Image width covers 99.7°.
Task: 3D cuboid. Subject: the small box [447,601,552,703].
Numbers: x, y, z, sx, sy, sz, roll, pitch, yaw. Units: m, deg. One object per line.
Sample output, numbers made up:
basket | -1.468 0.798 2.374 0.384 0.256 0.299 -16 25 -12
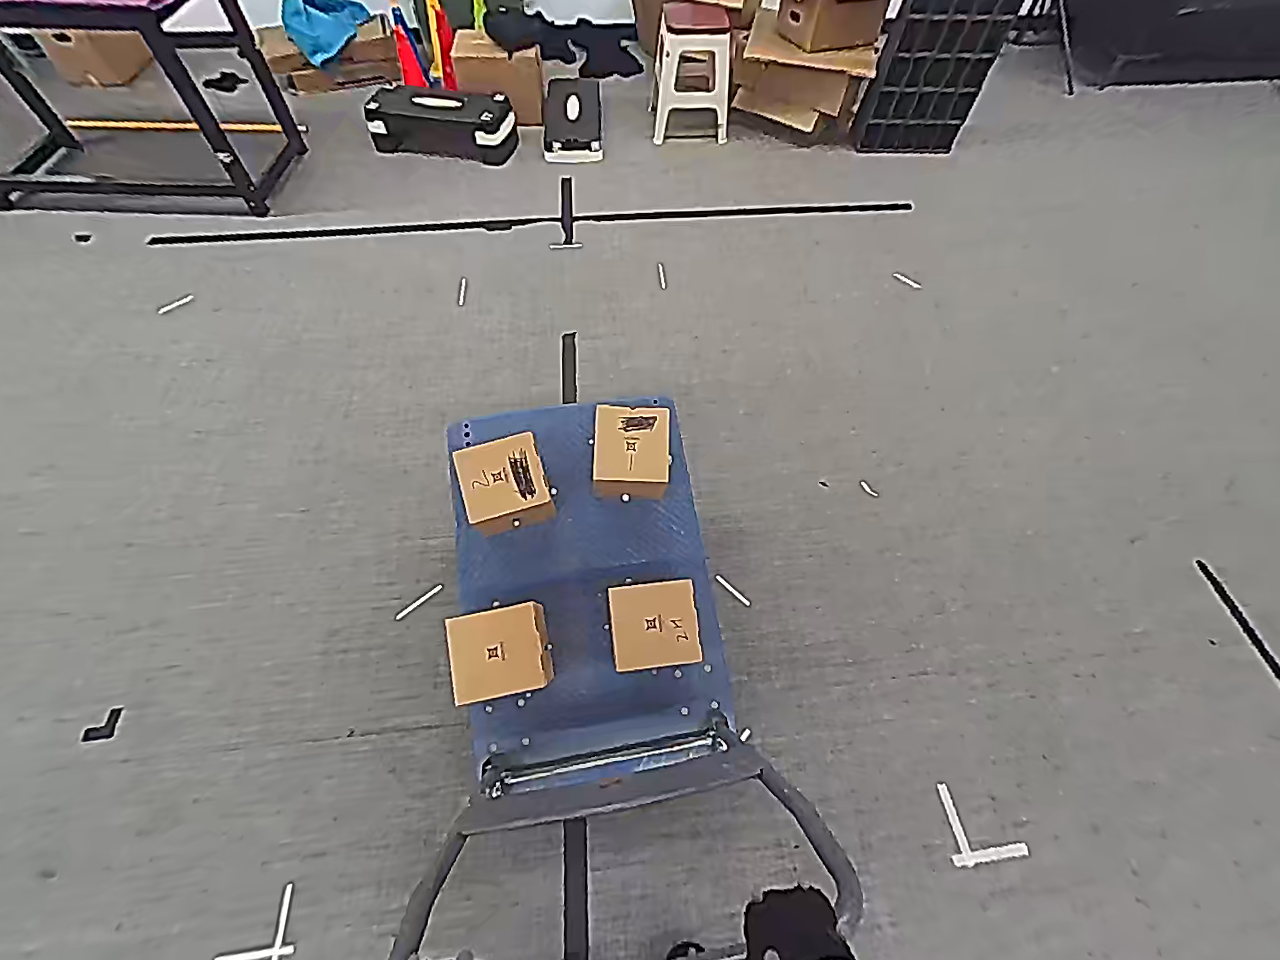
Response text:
small box | -0.286 0.355 1.126 0.179 0.176 0.168 -10 75 -8

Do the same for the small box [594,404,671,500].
small box | -0.021 -0.060 1.261 0.168 0.176 0.179 3 75 -3

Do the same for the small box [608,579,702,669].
small box | 0.025 0.310 1.161 0.179 0.176 0.168 -5 75 -6
